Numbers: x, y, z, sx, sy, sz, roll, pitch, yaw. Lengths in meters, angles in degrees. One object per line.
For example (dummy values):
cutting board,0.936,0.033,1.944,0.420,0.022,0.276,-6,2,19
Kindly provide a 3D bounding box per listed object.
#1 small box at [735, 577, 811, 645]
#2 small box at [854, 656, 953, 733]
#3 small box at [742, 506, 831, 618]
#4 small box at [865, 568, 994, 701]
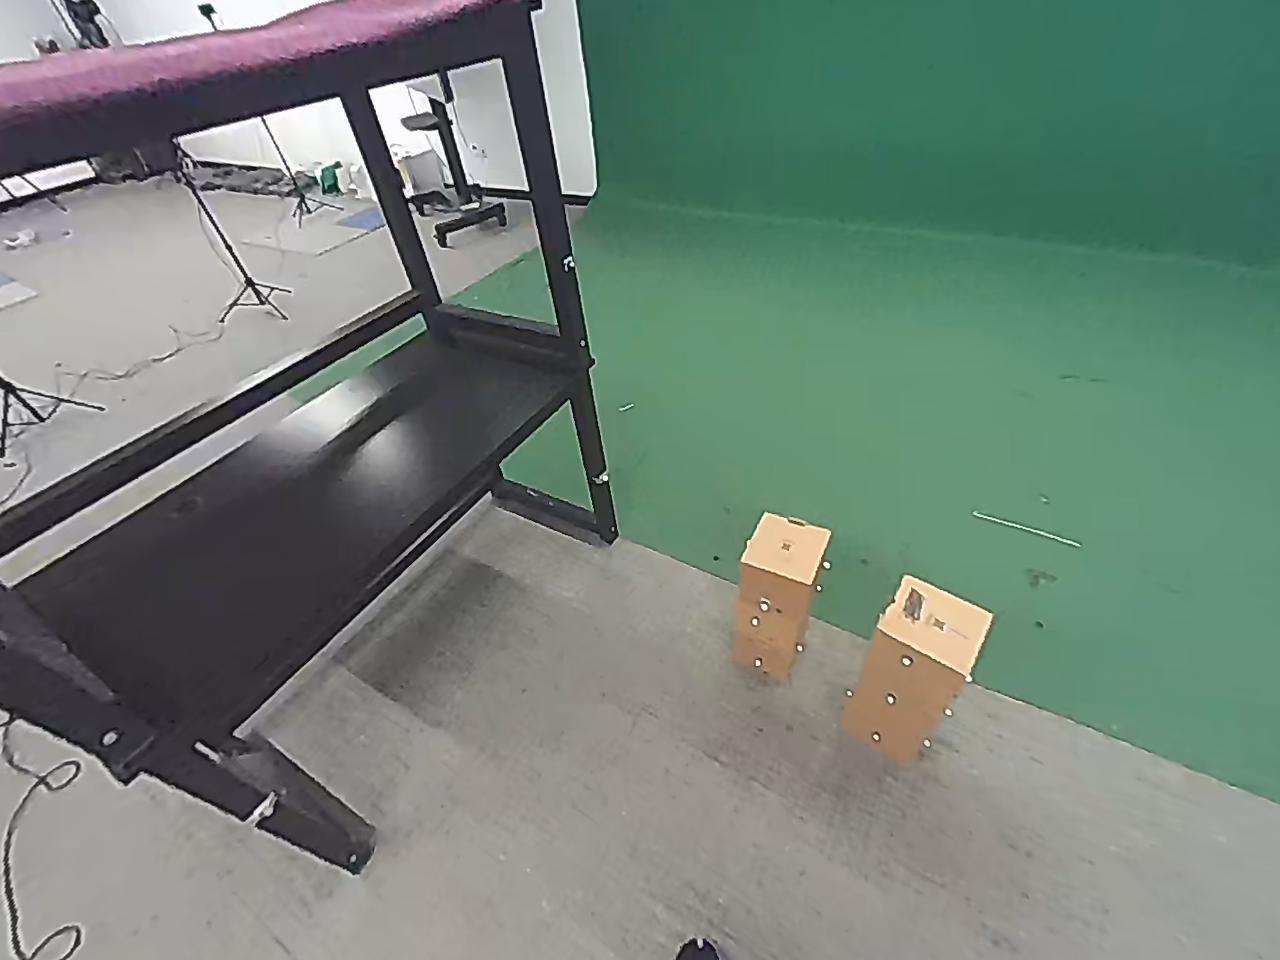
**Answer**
small box,0.360,0.302,1.429,0.168,0.176,0.179,18,49,25
small box,0.618,0.444,1.244,0.179,0.176,0.168,29,56,32
small box,0.348,0.198,1.303,0.168,0.176,0.179,15,49,24
small box,0.596,0.326,1.132,0.179,0.176,0.168,27,54,30
